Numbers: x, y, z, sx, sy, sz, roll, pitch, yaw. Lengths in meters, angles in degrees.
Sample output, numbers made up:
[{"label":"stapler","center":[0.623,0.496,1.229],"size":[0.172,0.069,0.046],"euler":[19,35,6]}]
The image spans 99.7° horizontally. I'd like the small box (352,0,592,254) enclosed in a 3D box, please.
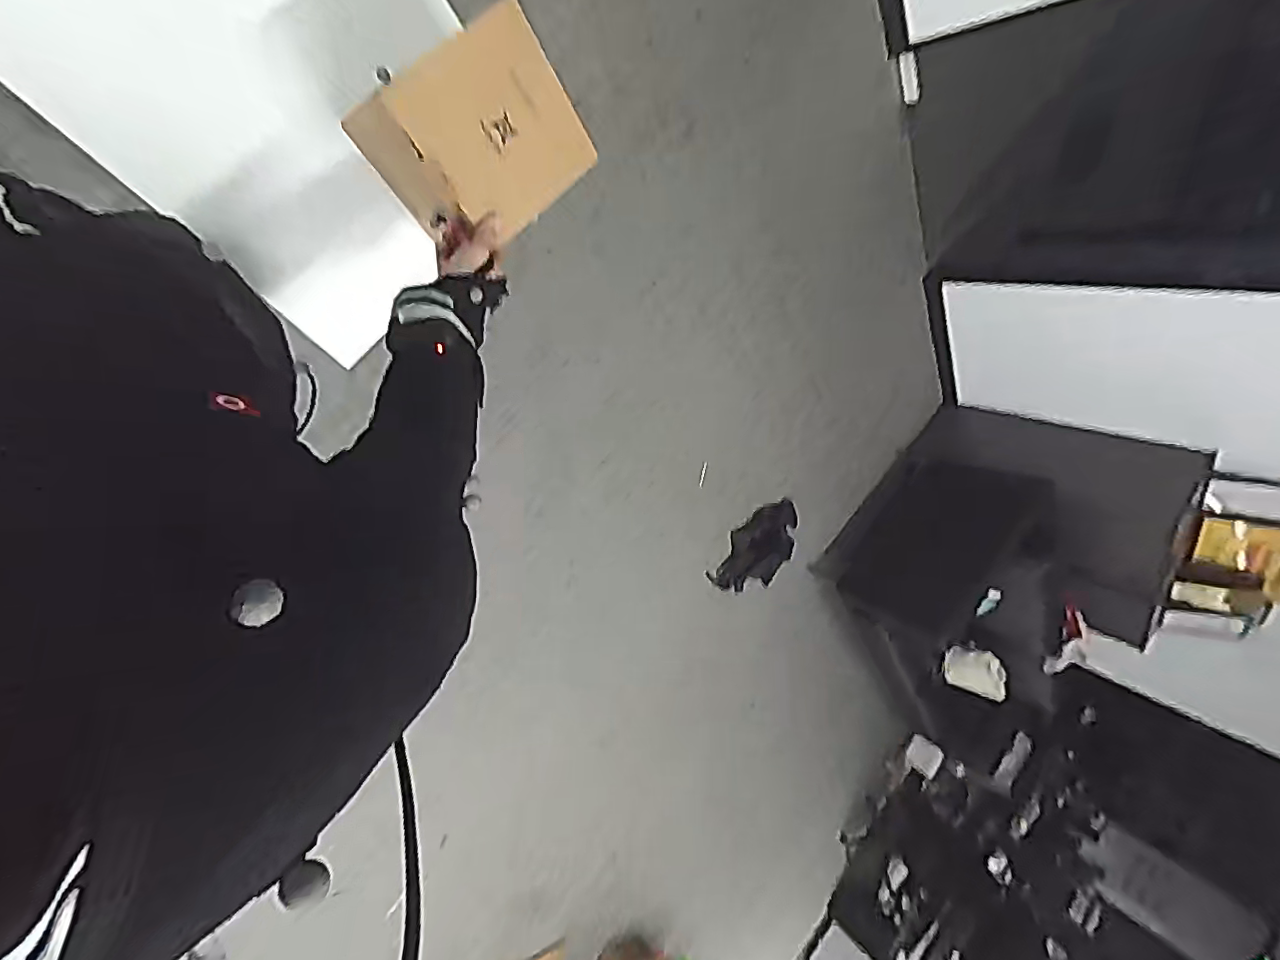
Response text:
[{"label":"small box","center":[-0.194,-0.378,0.612],"size":[0.179,0.176,0.168],"euler":[-49,132,-13]}]
